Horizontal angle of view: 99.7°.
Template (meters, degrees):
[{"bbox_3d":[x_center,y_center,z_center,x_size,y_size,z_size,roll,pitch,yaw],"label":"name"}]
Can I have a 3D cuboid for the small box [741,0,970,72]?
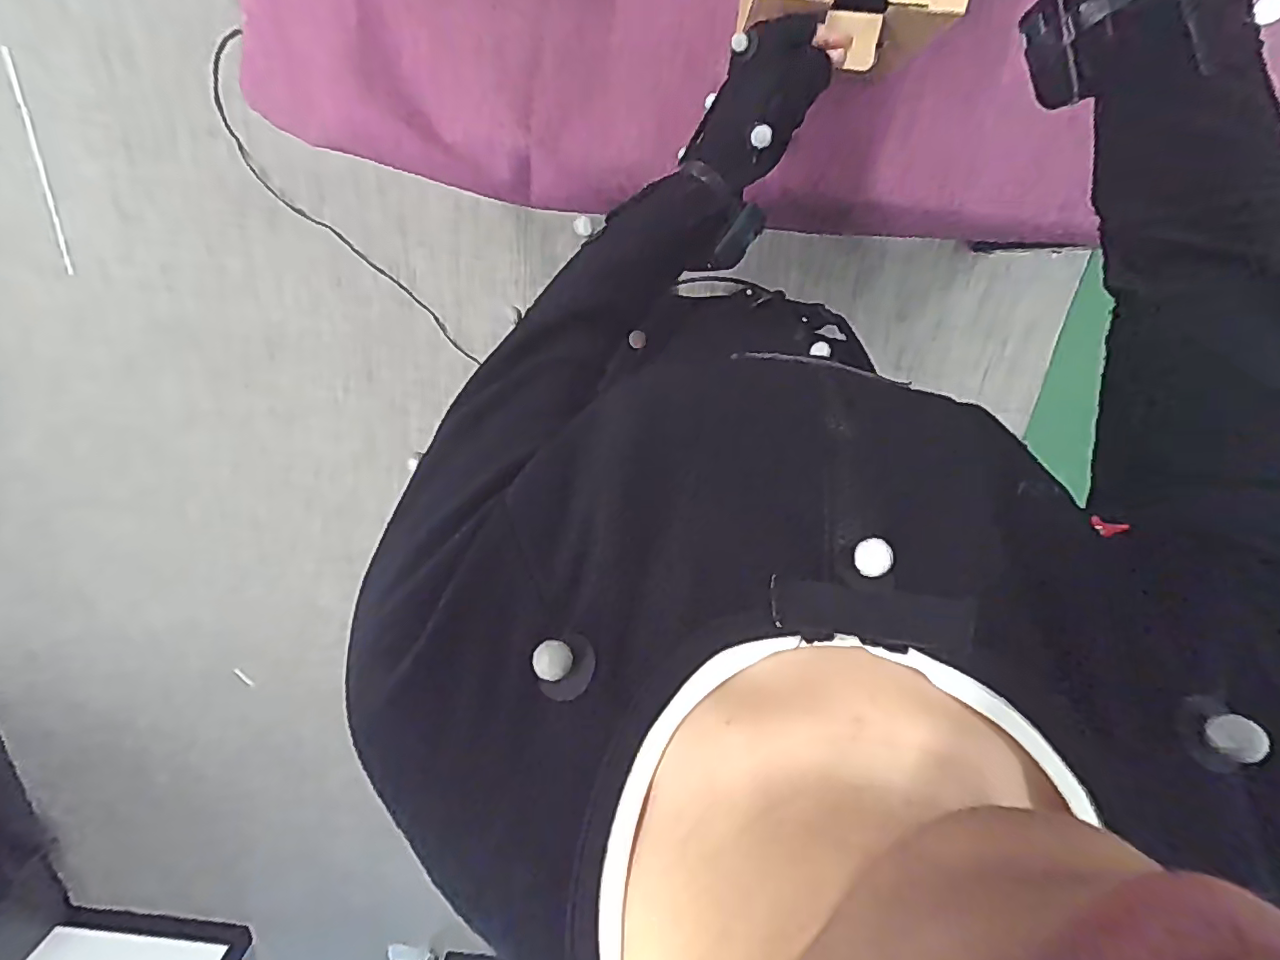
[{"bbox_3d":[0.185,-0.477,0.456,0.168,0.176,0.179,6,112,0],"label":"small box"}]
